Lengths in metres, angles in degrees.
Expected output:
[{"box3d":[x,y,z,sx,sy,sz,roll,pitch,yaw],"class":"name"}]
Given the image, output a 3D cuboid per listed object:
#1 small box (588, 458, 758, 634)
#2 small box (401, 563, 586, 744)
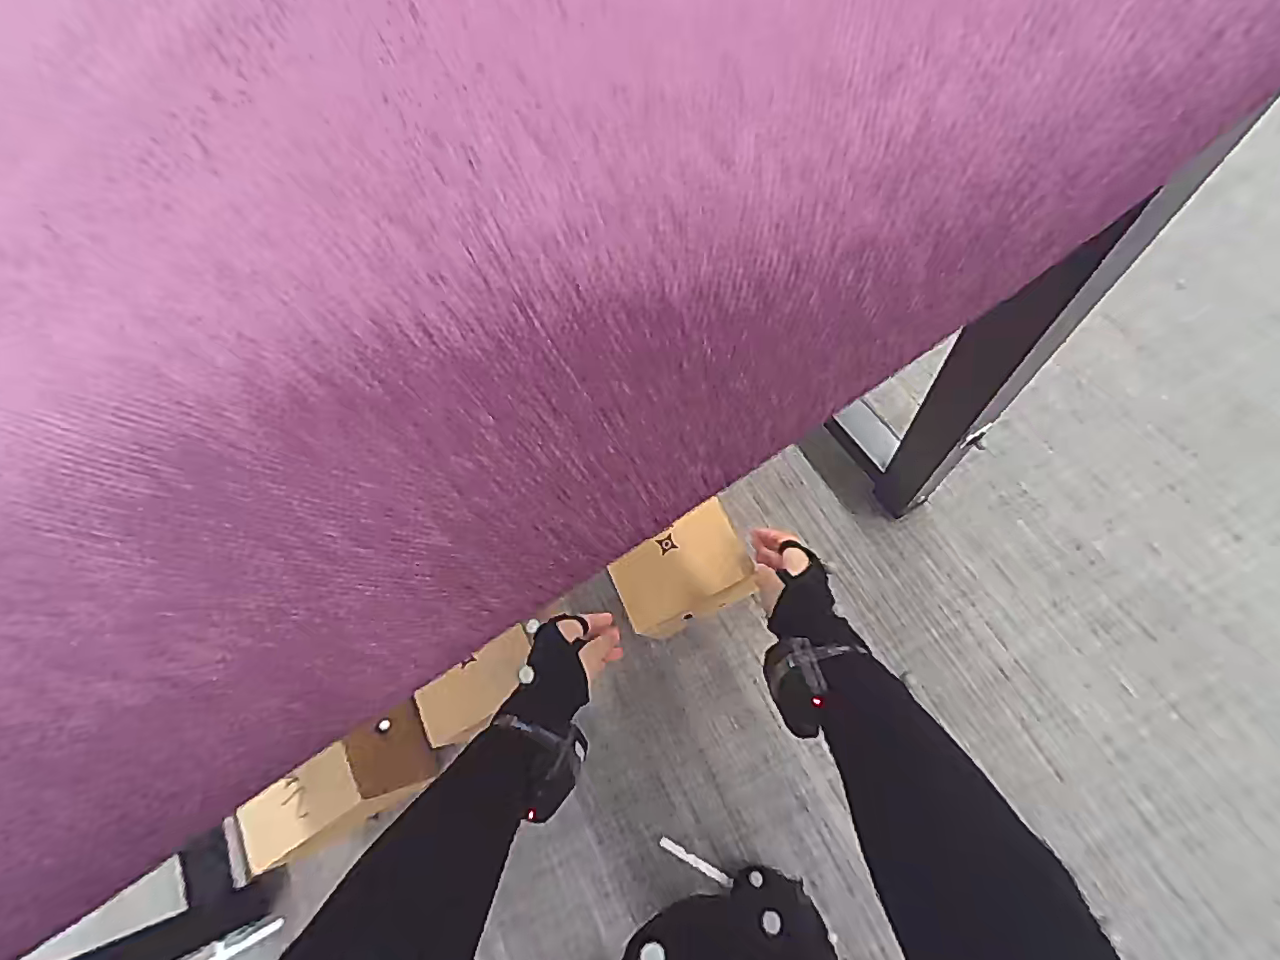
[{"box3d":[0.054,0.103,0.758,0.168,0.176,0.179,-28,66,3],"class":"small box"},{"box3d":[-0.198,0.243,0.769,0.168,0.176,0.179,-30,66,2],"class":"small box"}]
